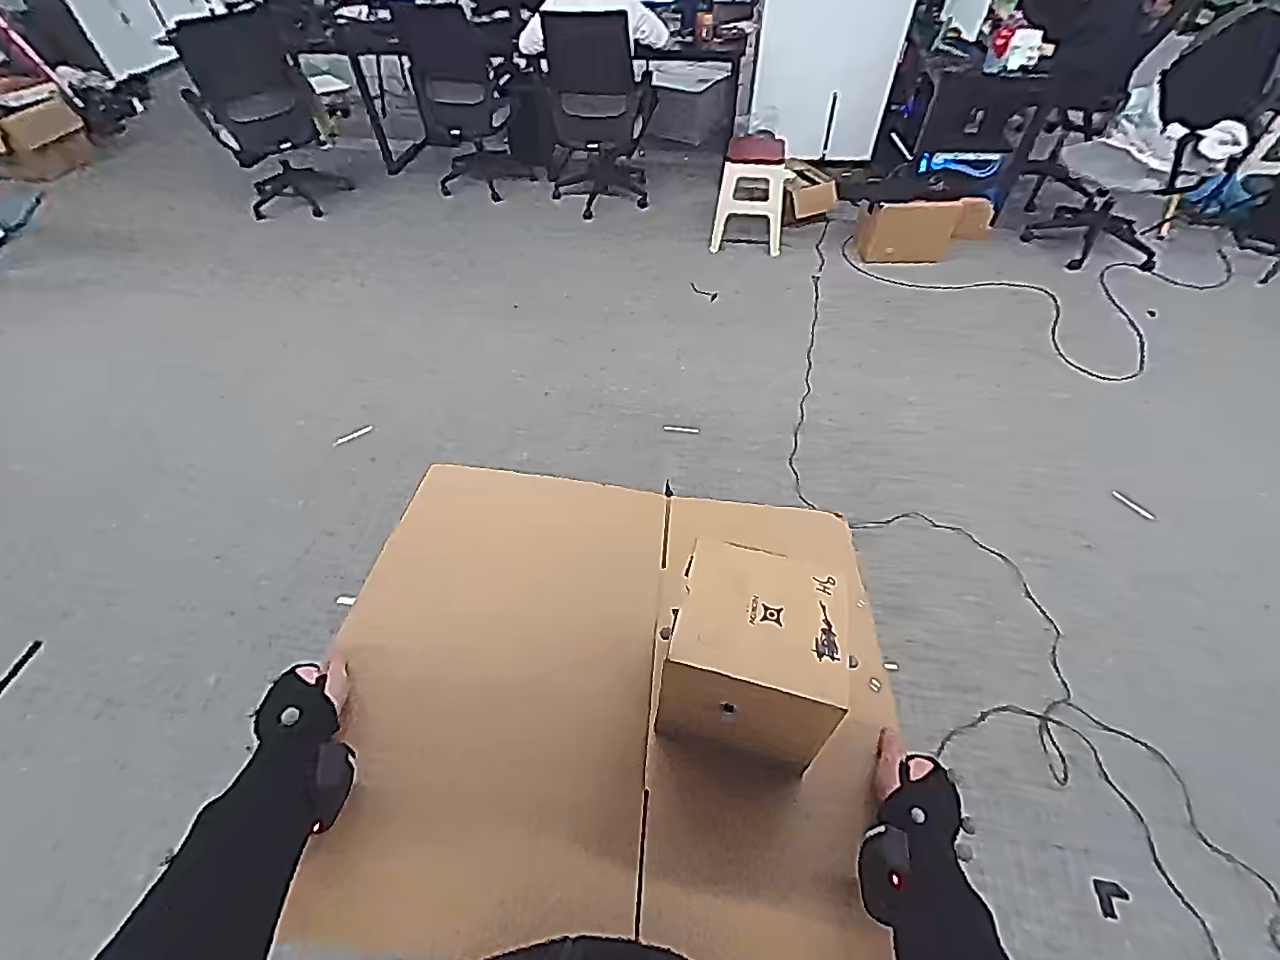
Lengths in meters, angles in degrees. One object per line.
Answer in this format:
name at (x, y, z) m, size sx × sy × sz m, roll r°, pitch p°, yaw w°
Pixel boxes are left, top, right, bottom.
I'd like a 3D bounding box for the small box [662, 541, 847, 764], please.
small box at (0.128, 0.200, 0.627) m, size 0.179 × 0.176 × 0.168 m, roll 12°, pitch 44°, yaw 10°
